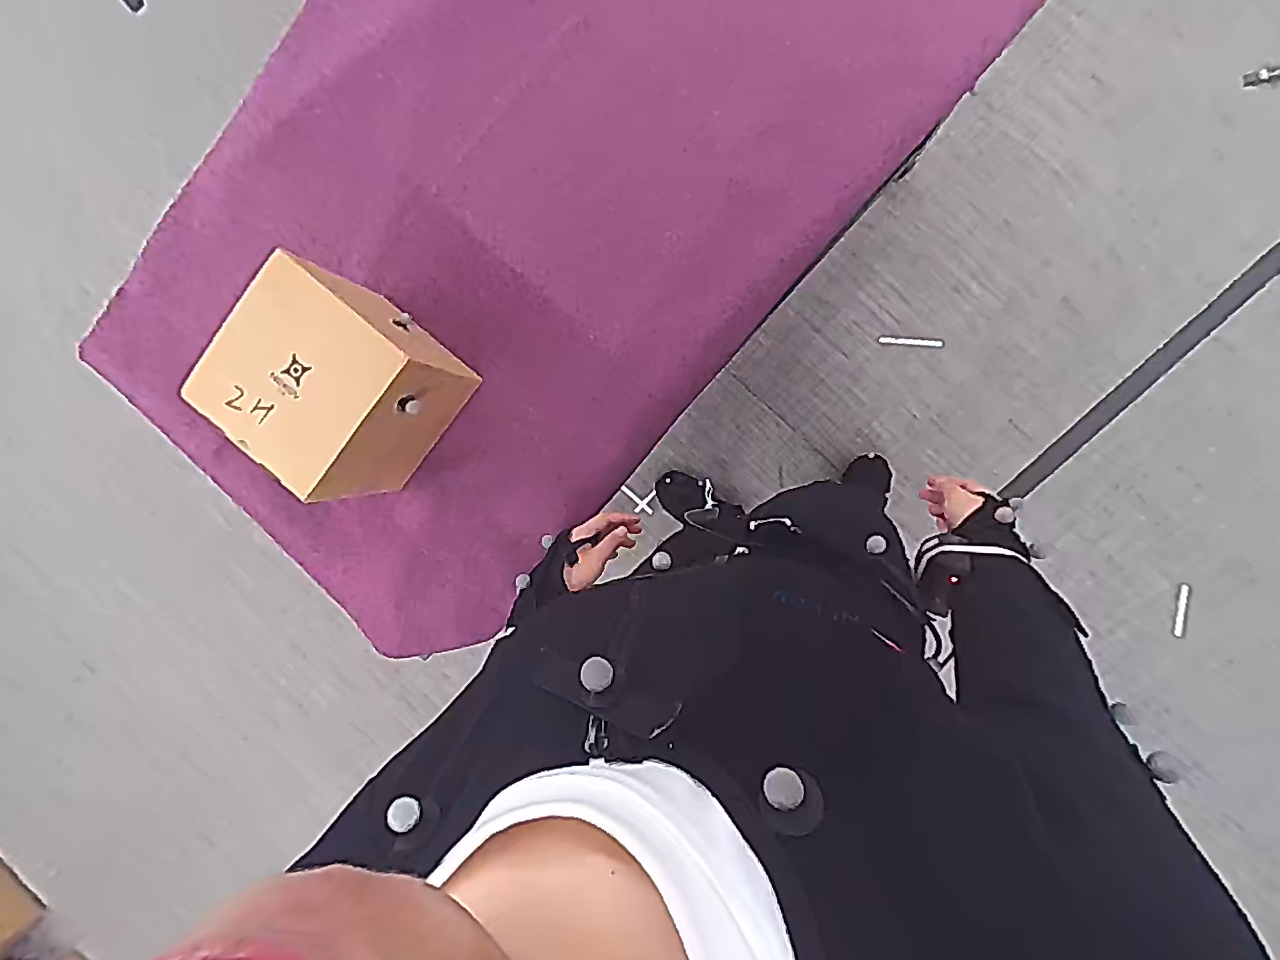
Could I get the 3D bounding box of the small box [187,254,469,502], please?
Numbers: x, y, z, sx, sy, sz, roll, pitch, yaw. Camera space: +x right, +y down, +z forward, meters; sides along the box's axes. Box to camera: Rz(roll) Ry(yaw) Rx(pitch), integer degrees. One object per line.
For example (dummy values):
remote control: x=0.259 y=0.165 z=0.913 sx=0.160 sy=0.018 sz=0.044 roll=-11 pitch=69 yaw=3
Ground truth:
small box: x=-0.313 y=-0.099 z=0.587 sx=0.168 sy=0.176 sz=0.179 roll=40 pitch=97 yaw=4
